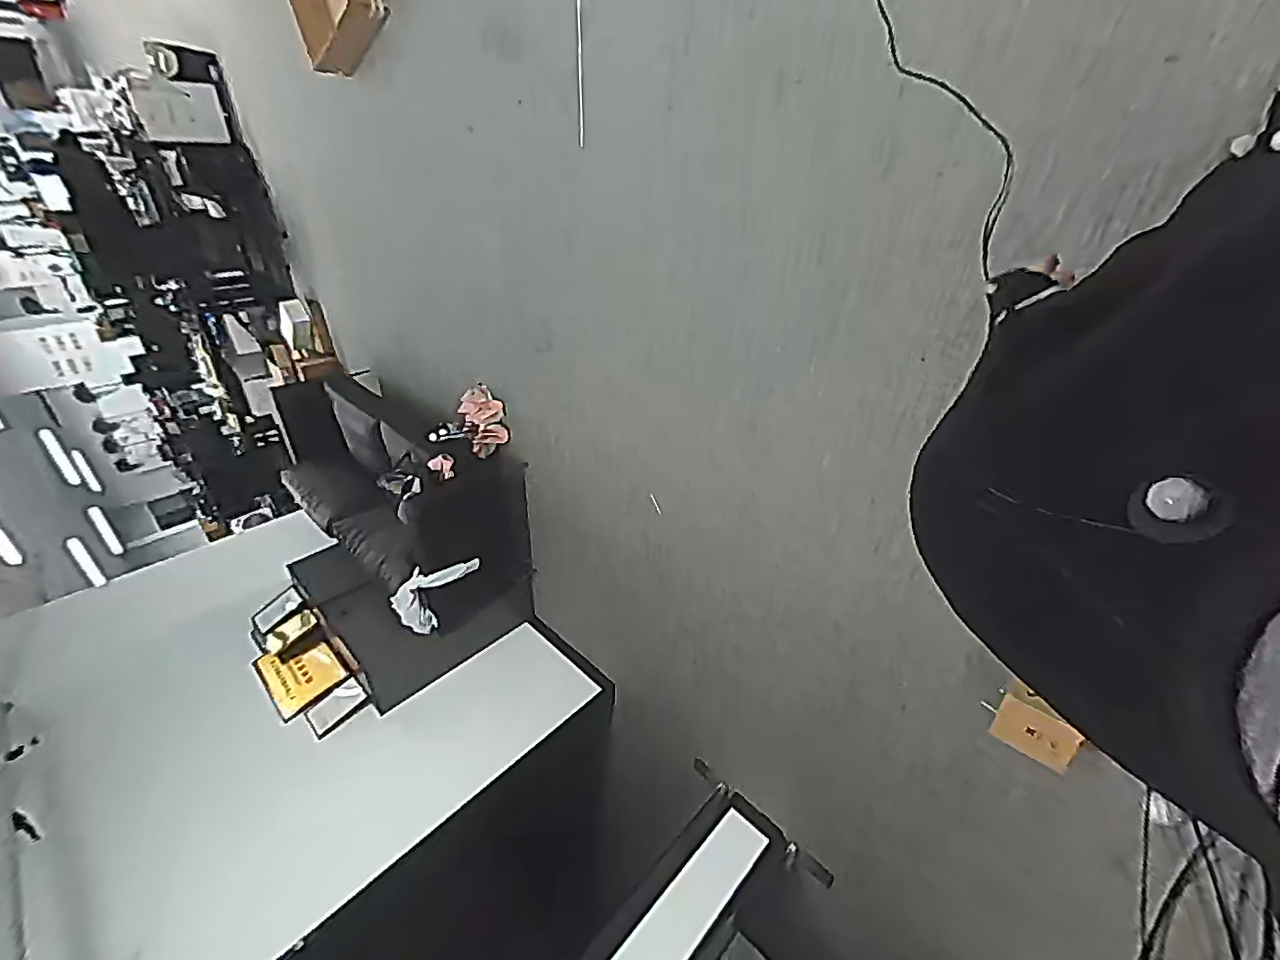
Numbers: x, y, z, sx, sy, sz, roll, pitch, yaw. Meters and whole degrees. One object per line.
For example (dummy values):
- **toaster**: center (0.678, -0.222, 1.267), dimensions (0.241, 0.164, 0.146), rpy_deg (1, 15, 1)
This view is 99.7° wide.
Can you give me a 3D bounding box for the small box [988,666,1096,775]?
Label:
- **small box**: center (1.073, 0.630, 1.444), dimensions (0.179, 0.176, 0.168), rpy_deg (25, 128, 37)
